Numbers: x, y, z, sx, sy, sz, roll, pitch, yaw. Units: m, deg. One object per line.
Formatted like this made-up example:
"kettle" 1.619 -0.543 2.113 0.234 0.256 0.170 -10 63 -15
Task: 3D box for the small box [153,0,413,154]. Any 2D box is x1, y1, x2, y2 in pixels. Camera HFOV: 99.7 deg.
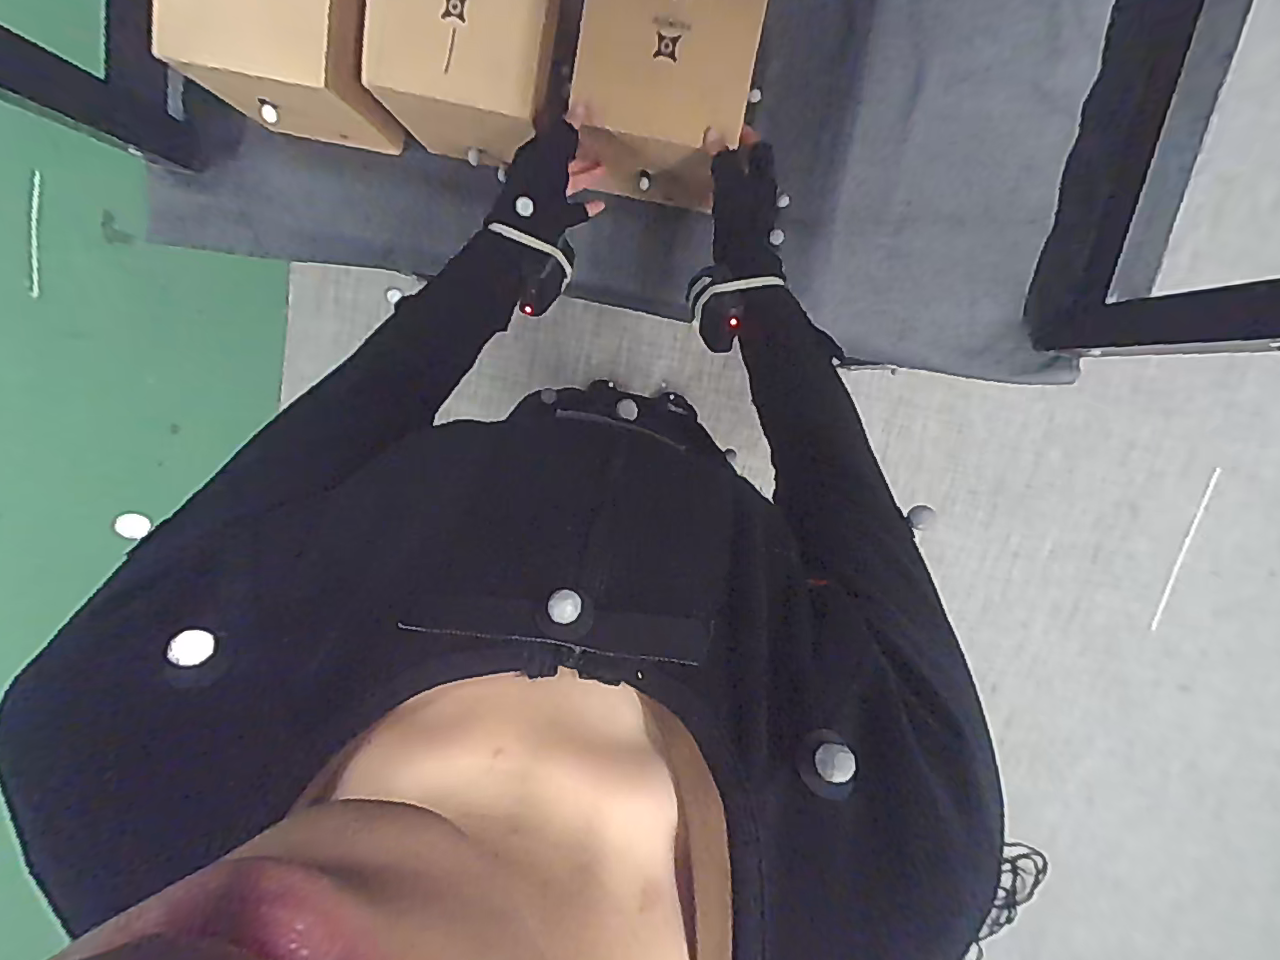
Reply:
"small box" -0.359 -0.479 0.573 0.168 0.176 0.179 10 100 -2
